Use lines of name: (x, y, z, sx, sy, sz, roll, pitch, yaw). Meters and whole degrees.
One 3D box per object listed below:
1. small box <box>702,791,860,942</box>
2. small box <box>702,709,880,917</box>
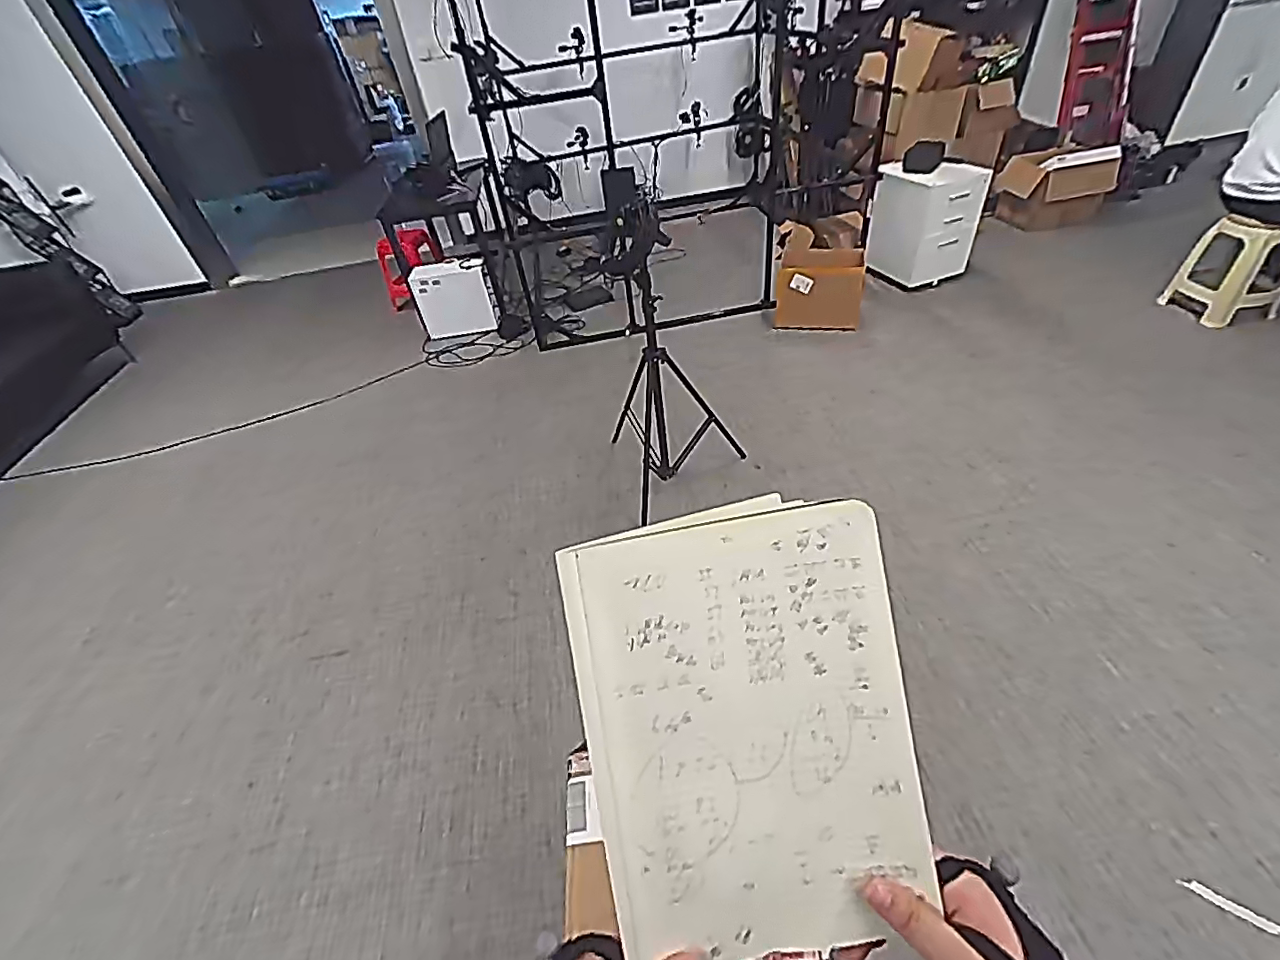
small box: (0.195, 0.558, 0.809, 0.179, 0.176, 0.168, -11, 42, -5)
small box: (0.178, 0.432, 0.706, 0.168, 0.176, 0.179, -9, 42, -4)
